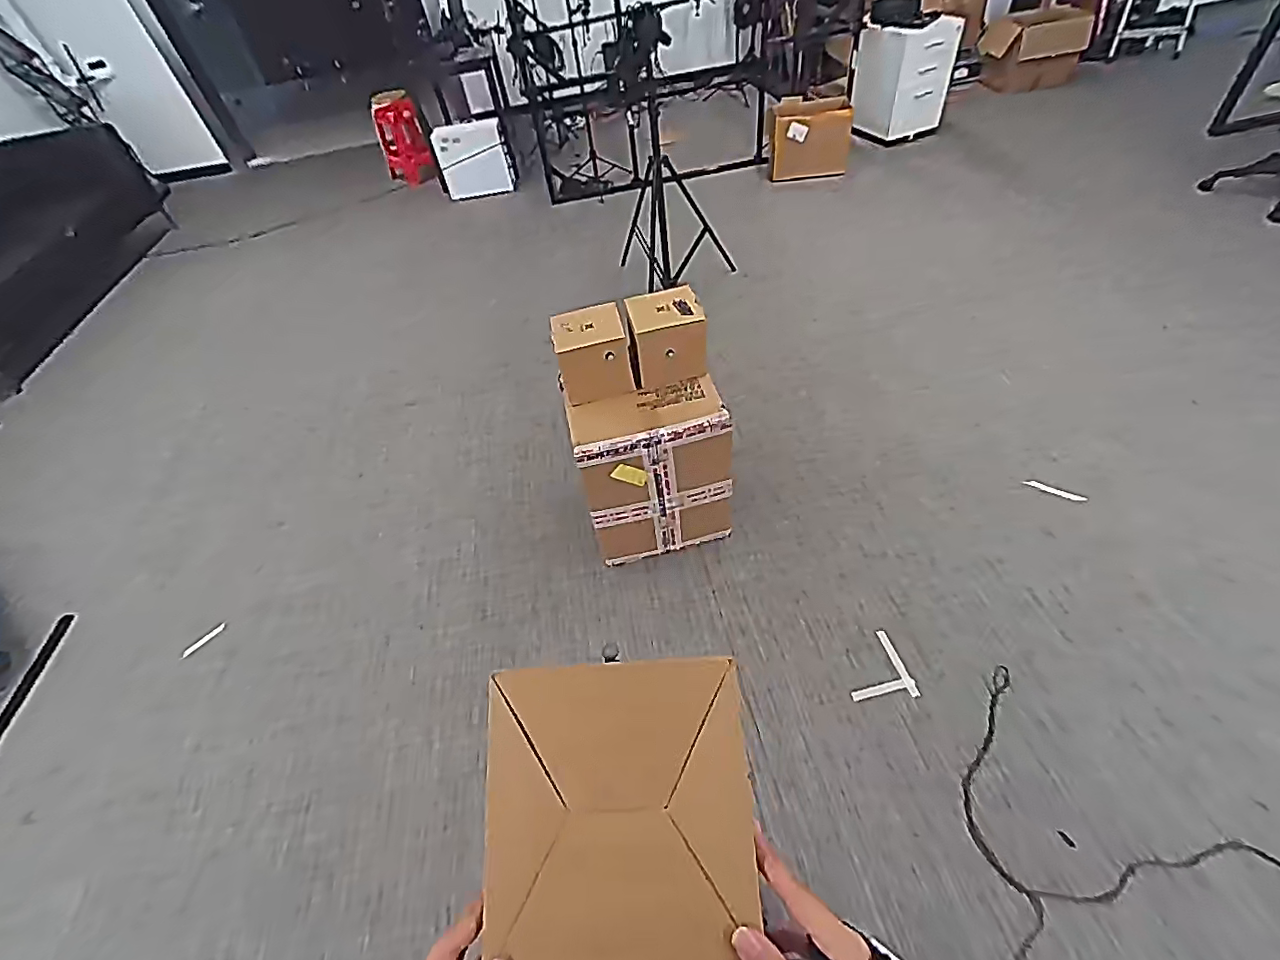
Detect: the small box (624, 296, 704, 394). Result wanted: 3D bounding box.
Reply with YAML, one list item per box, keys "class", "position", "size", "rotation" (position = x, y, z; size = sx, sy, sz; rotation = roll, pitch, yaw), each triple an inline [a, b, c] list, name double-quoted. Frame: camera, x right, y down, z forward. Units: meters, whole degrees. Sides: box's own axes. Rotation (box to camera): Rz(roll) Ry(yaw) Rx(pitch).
- class: "small box"
  position: [0.063, -0.349, 1.409]
  size: [0.179, 0.176, 0.168]
  rotation: [-13, 48, -3]

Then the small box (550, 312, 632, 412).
- class: "small box"
  position: [-0.122, -0.302, 1.397]
  size: [0.179, 0.176, 0.168]
  rotation: [-14, 48, 0]
